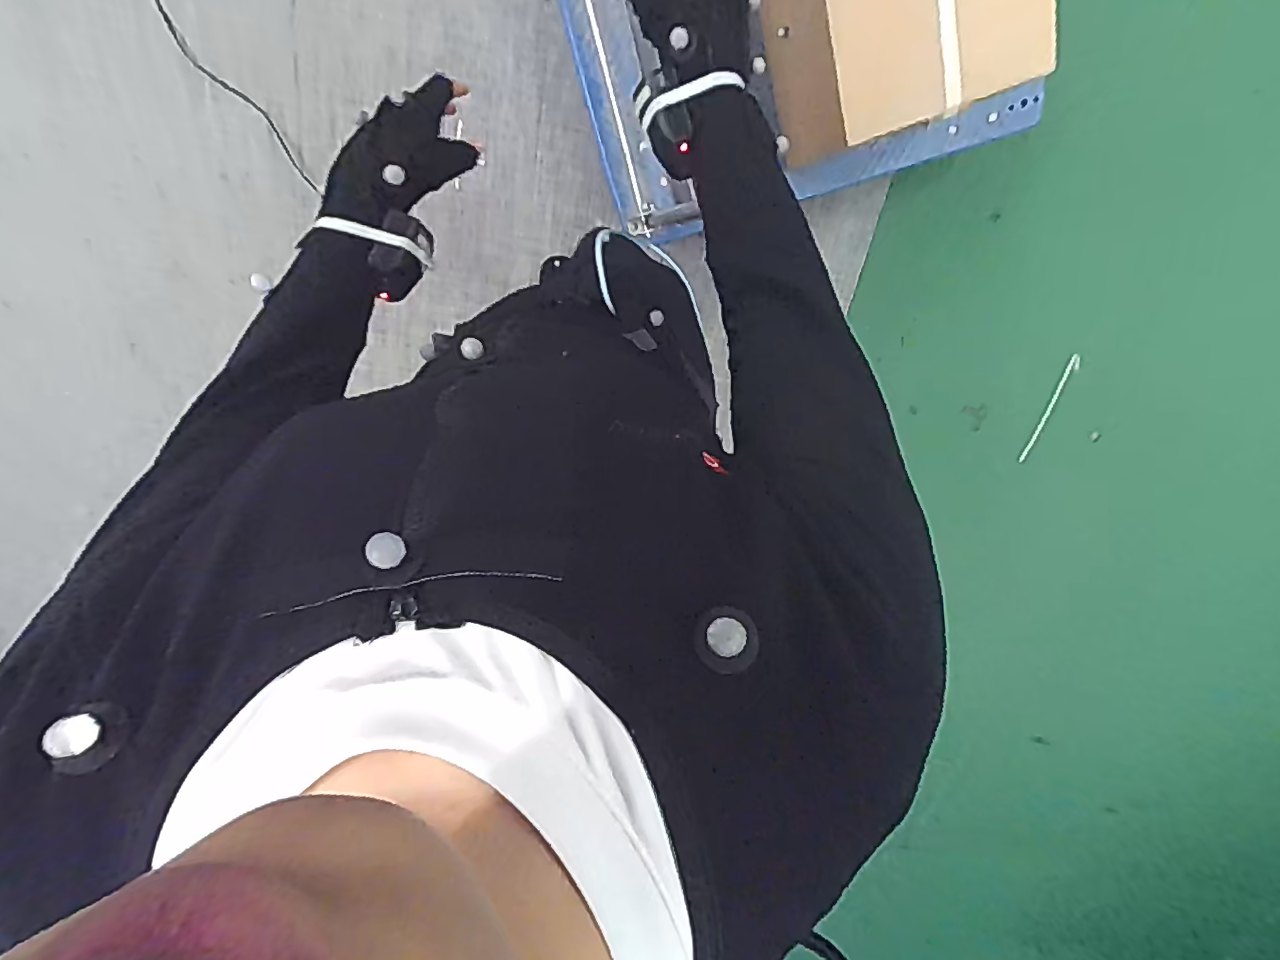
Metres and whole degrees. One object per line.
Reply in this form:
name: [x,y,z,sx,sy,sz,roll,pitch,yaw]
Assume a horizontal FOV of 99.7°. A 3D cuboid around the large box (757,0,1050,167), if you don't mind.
large box: [0.388,-0.790,0.868,0.320,0.320,0.408,-18,113,4]
